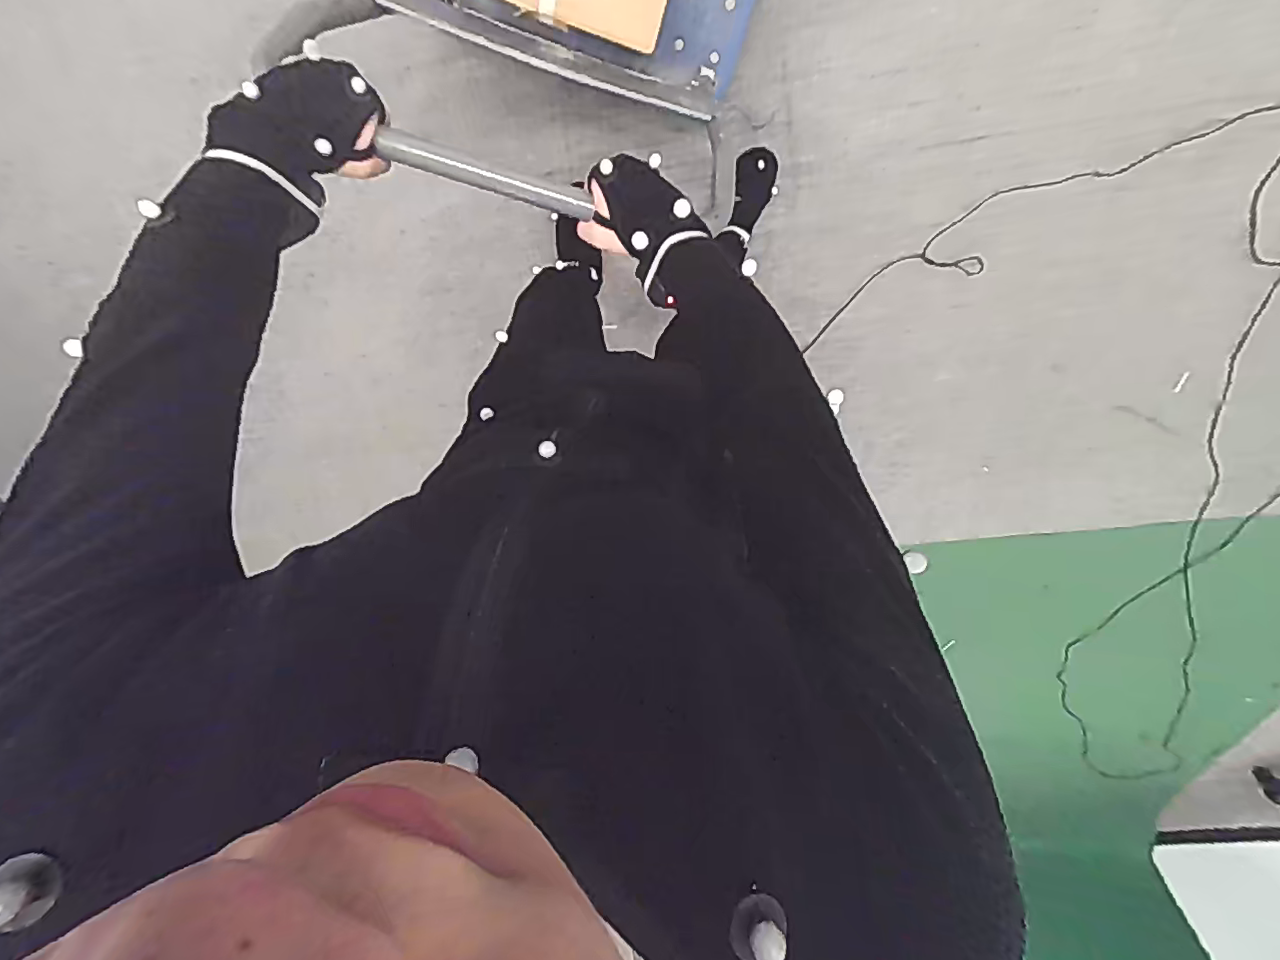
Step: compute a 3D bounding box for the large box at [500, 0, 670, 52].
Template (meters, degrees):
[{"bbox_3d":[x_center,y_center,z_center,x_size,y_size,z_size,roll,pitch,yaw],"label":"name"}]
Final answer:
[{"bbox_3d":[-0.067,-0.893,0.755,0.320,0.320,0.408,14,129,-10],"label":"large box"}]
